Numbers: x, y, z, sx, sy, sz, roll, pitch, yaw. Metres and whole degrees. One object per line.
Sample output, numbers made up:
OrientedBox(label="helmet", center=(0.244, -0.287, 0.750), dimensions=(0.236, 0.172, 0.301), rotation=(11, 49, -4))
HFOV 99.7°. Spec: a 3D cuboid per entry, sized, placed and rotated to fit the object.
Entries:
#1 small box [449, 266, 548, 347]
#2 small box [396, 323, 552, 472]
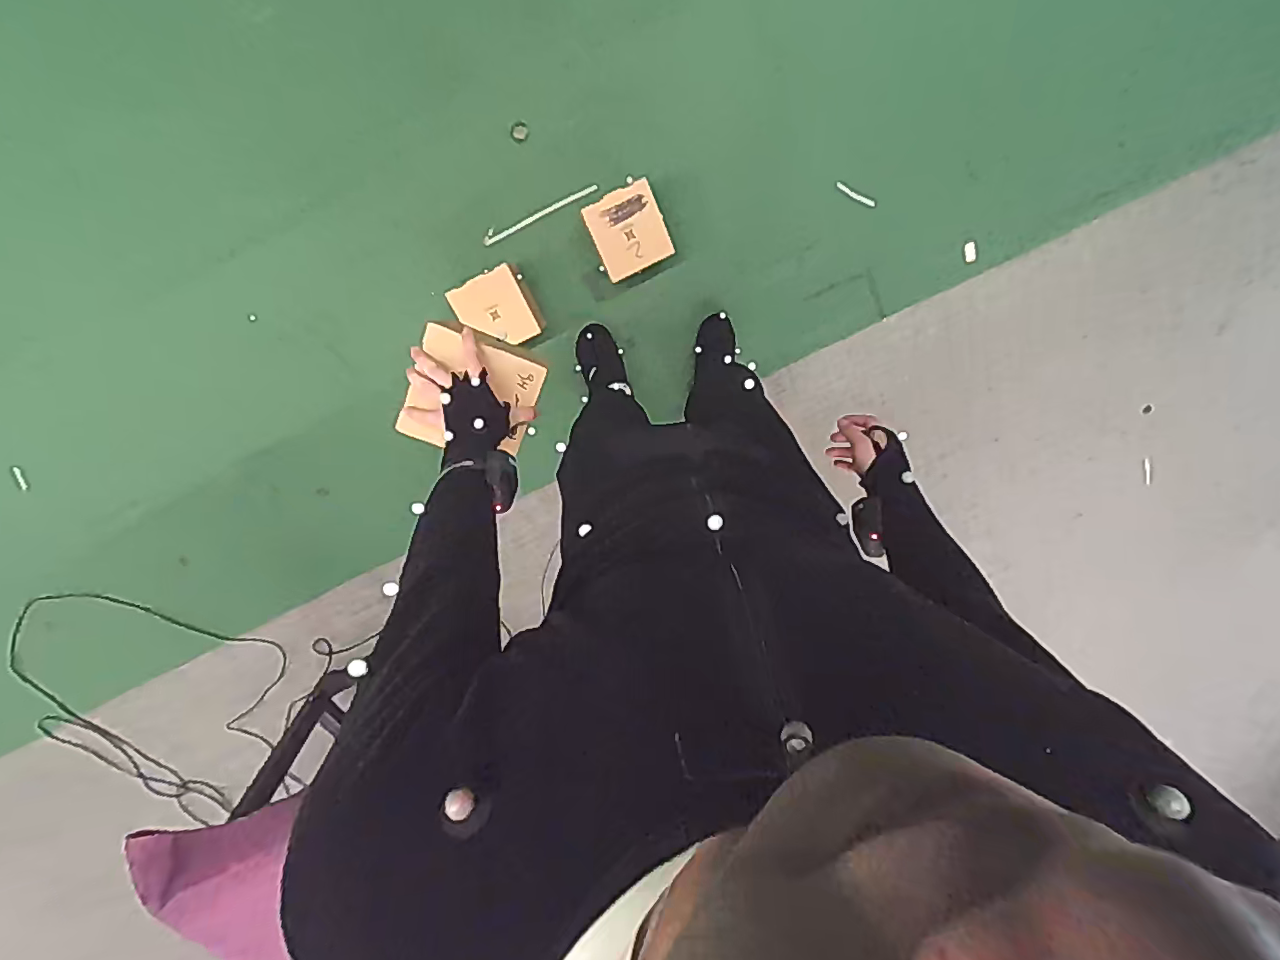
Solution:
OrientedBox(label="small box", center=(-0.345, -0.425, 1.362), dimensions=(0.168, 0.176, 0.179), rotation=(-25, 111, 5))
OrientedBox(label="small box", center=(-0.248, -0.134, 0.848), dimensions=(0.179, 0.176, 0.168), rotation=(20, 104, -13))
